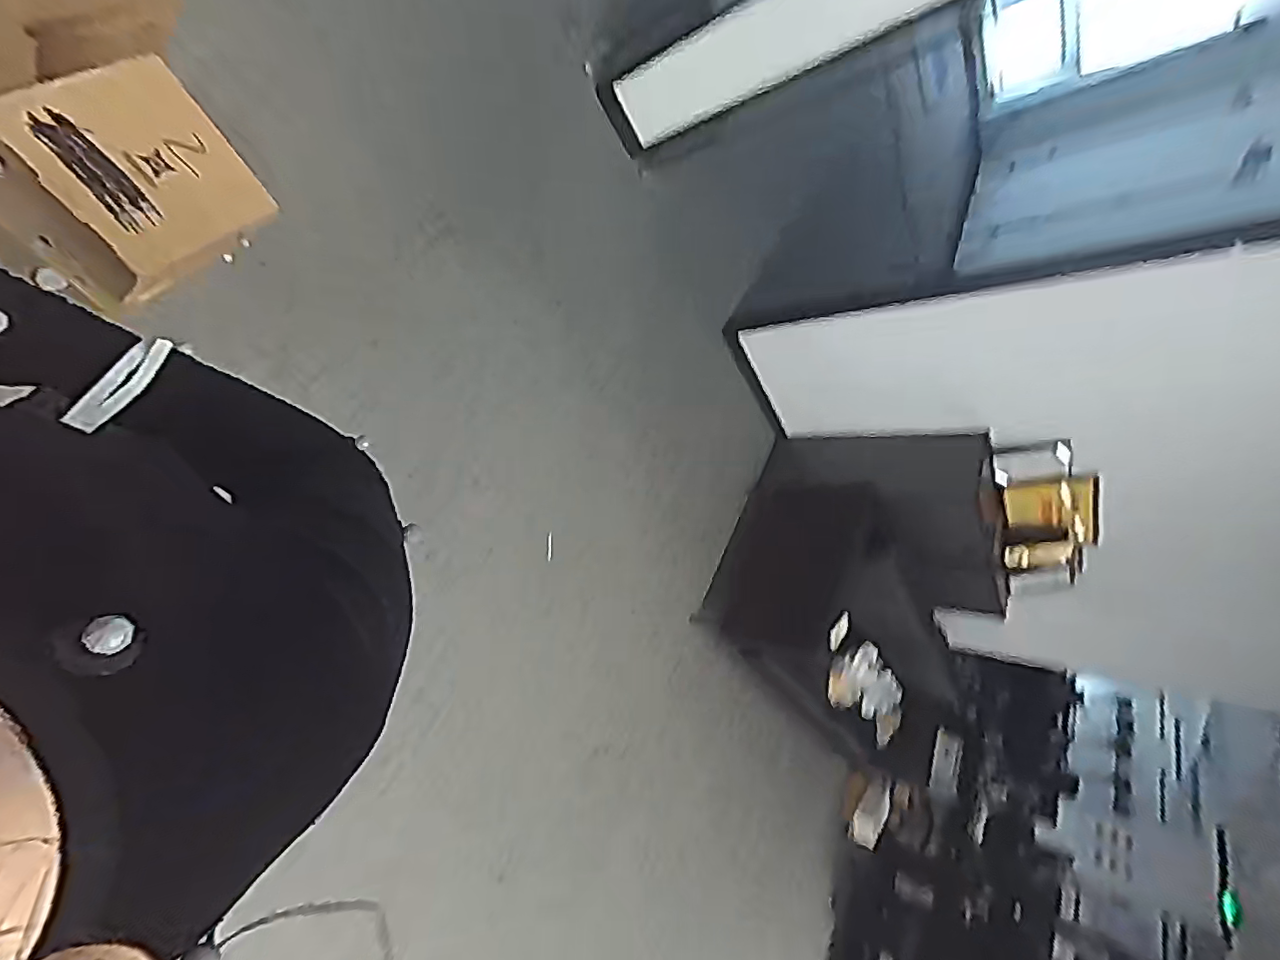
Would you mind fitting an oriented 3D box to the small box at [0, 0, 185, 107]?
[{"bbox_3d":[-0.730,-0.608,0.668,0.168,0.176,0.179,-52,129,-33],"label":"small box"}]

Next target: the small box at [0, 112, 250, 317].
[{"bbox_3d":[-0.686,-0.344,0.731,0.168,0.176,0.179,54,54,-36],"label":"small box"}]
